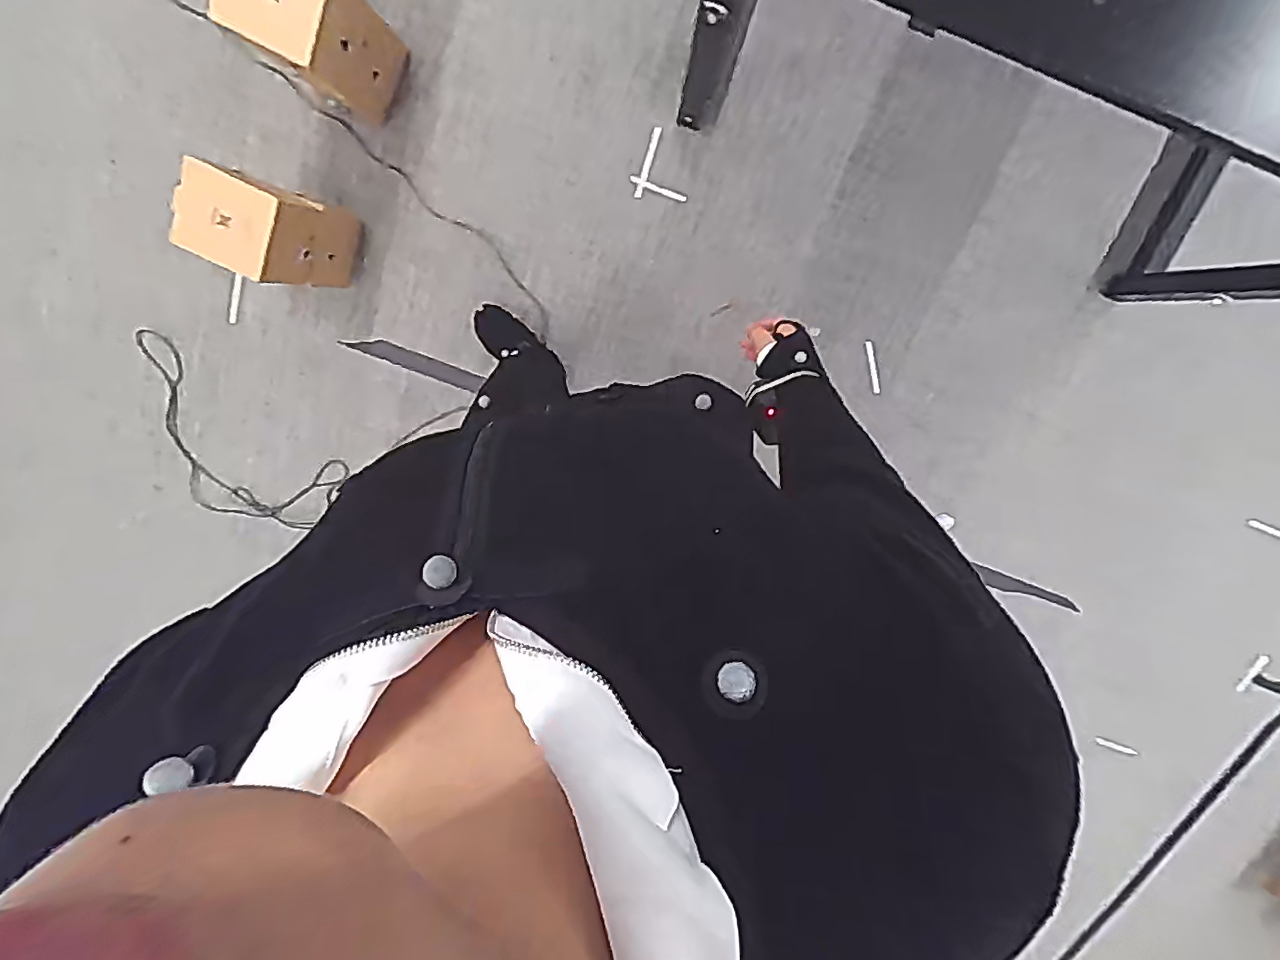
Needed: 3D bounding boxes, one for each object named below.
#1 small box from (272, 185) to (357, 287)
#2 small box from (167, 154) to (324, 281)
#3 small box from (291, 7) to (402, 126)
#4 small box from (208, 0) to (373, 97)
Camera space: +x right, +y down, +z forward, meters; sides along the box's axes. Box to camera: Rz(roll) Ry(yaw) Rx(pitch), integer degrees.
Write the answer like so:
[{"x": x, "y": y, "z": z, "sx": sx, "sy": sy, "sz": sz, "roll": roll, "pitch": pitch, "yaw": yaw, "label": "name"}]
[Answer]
[{"x": -0.782, "y": -0.556, "z": 1.244, "sx": 0.168, "sy": 0.176, "sz": 0.179, "roll": 20, "pitch": 107, "yaw": -6, "label": "small box"}, {"x": -0.783, "y": -0.511, "z": 1.086, "sx": 0.179, "sy": 0.176, "sz": 0.168, "roll": 24, "pitch": 107, "yaw": -8, "label": "small box"}, {"x": -0.628, "y": -0.895, "z": 1.135, "sx": 0.168, "sy": 0.176, "sz": 0.179, "roll": 28, "pitch": 106, "yaw": -8, "label": "small box"}, {"x": -0.620, "y": -0.838, "z": 0.981, "sx": 0.179, "sy": 0.176, "sz": 0.168, "roll": 25, "pitch": 104, "yaw": -7, "label": "small box"}]
